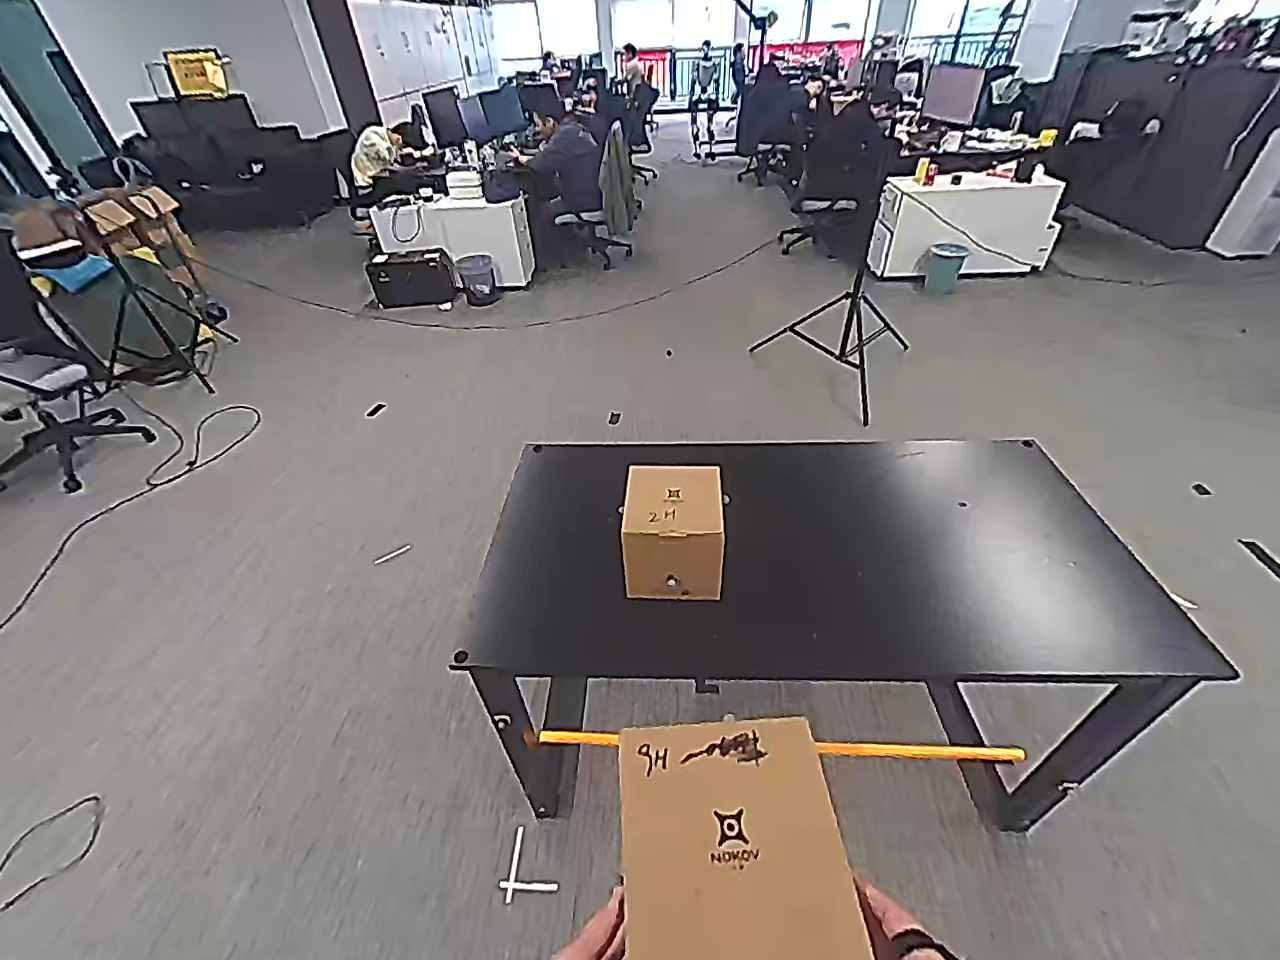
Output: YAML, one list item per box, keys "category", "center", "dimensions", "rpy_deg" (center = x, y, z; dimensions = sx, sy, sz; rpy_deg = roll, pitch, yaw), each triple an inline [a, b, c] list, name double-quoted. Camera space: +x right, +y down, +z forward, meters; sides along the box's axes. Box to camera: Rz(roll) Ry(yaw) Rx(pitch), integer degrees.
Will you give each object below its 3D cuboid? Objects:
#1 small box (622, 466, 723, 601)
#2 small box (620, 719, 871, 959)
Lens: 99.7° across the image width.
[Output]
- category: "small box"
  center: [0.060, 0.094, 0.974]
  dimensions: [0.168, 0.176, 0.179]
  rpy_deg: [0, 40, 5]
- category: "small box"
  center: [0.070, 0.327, 0.462]
  dimensions: [0.168, 0.176, 0.179]
  rpy_deg: [-3, 46, -3]
